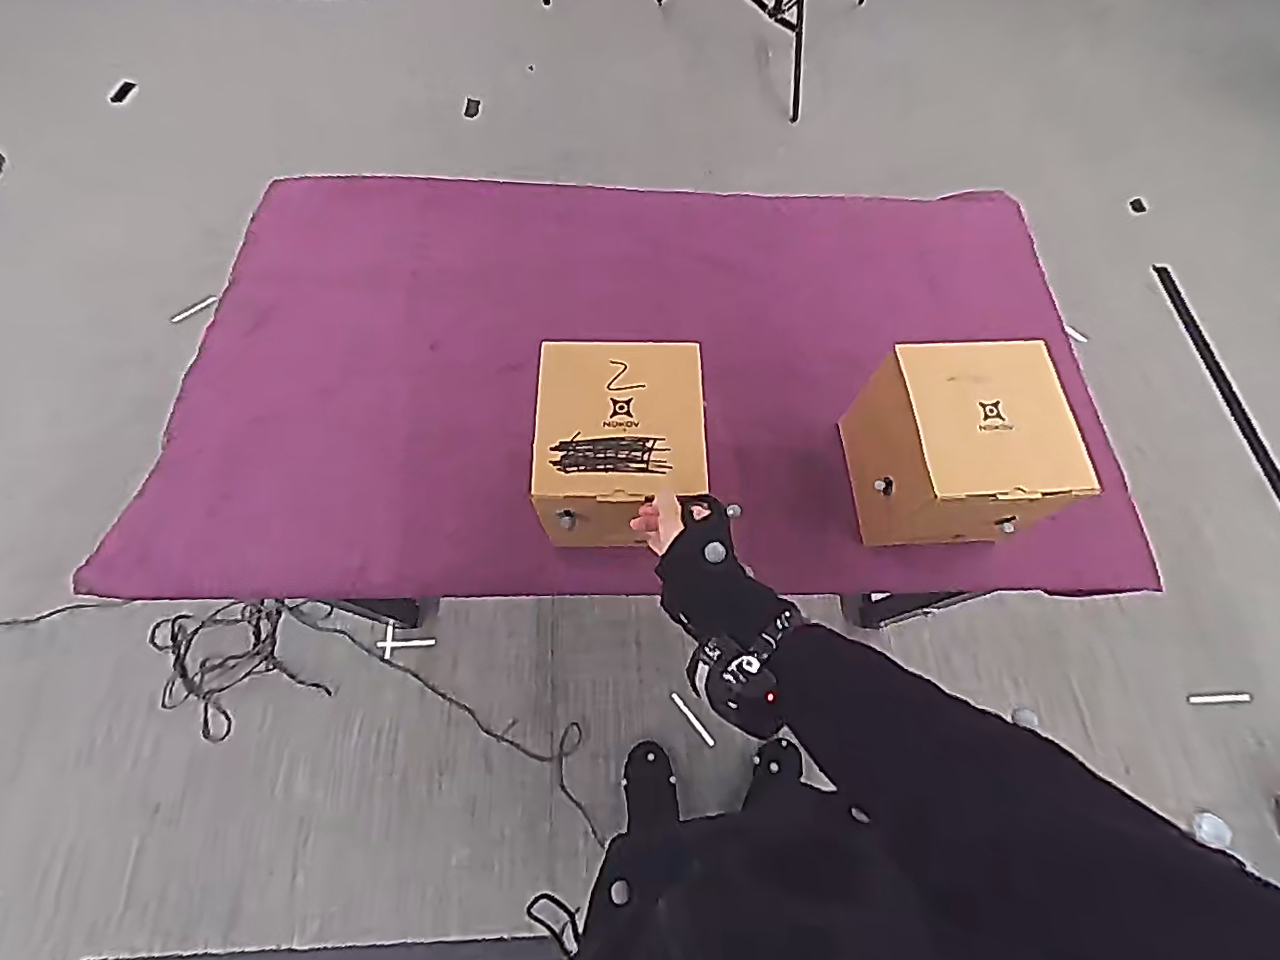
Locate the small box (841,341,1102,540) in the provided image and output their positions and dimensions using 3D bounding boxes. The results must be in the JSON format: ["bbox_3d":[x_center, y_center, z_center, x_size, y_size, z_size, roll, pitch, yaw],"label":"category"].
[{"bbox_3d":[0.350,-0.034,0.612,0.168,0.176,0.179,-2,67,-4],"label":"small box"}]
